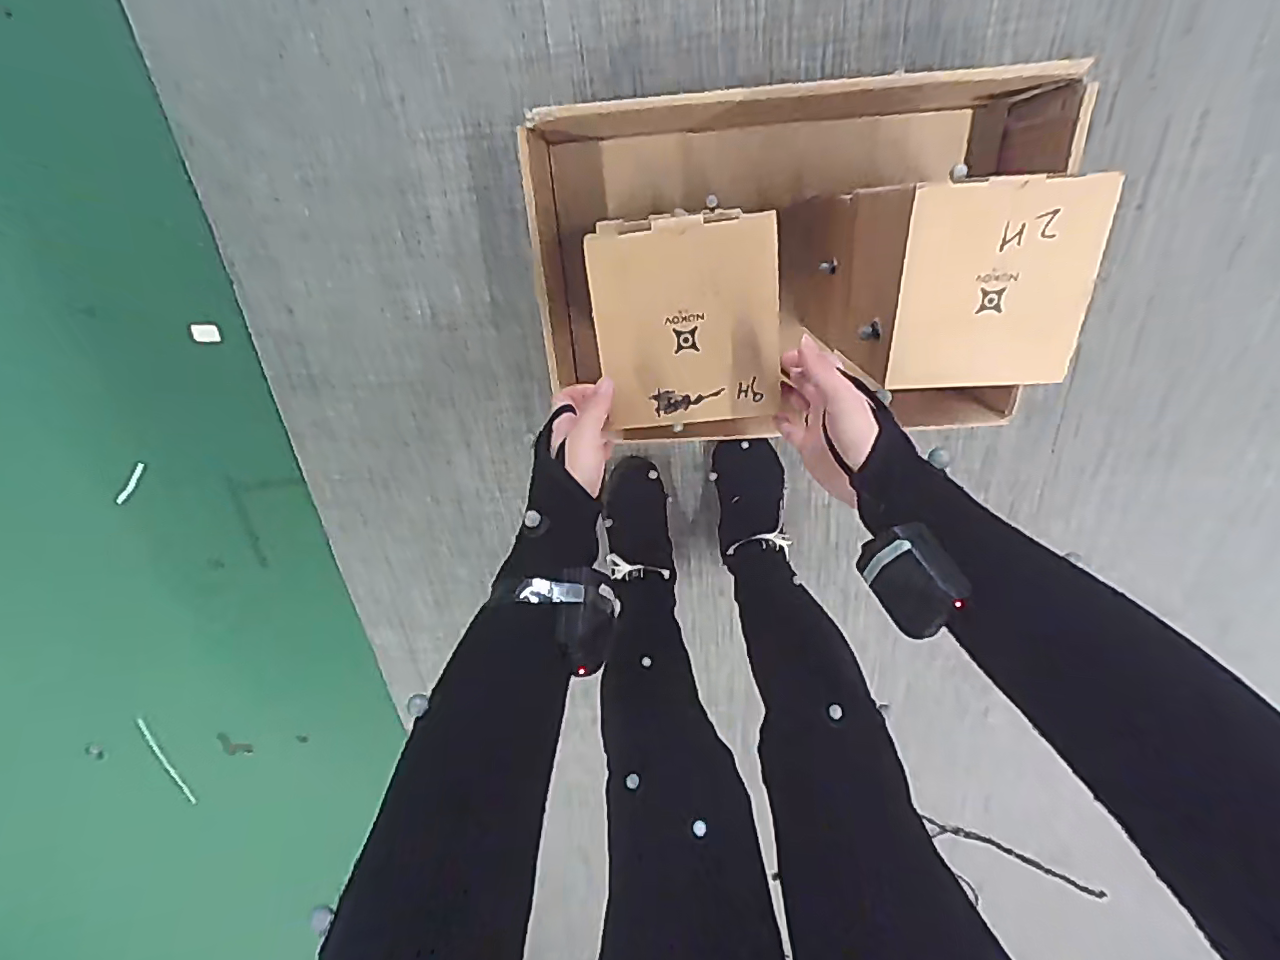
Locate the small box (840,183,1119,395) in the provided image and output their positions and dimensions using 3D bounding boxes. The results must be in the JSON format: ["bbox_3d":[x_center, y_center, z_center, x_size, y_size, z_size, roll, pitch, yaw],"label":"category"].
[{"bbox_3d":[0.312,-0.195,0.547,0.168,0.176,0.179,-1,116,4],"label":"small box"}]

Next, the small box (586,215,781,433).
[{"bbox_3d":[0.049,-0.160,0.559,0.168,0.176,0.179,-5,111,8],"label":"small box"}]

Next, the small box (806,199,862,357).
[{"bbox_3d":[0.318,-0.266,0.696,0.168,0.176,0.179,-1,116,4],"label":"small box"}]
